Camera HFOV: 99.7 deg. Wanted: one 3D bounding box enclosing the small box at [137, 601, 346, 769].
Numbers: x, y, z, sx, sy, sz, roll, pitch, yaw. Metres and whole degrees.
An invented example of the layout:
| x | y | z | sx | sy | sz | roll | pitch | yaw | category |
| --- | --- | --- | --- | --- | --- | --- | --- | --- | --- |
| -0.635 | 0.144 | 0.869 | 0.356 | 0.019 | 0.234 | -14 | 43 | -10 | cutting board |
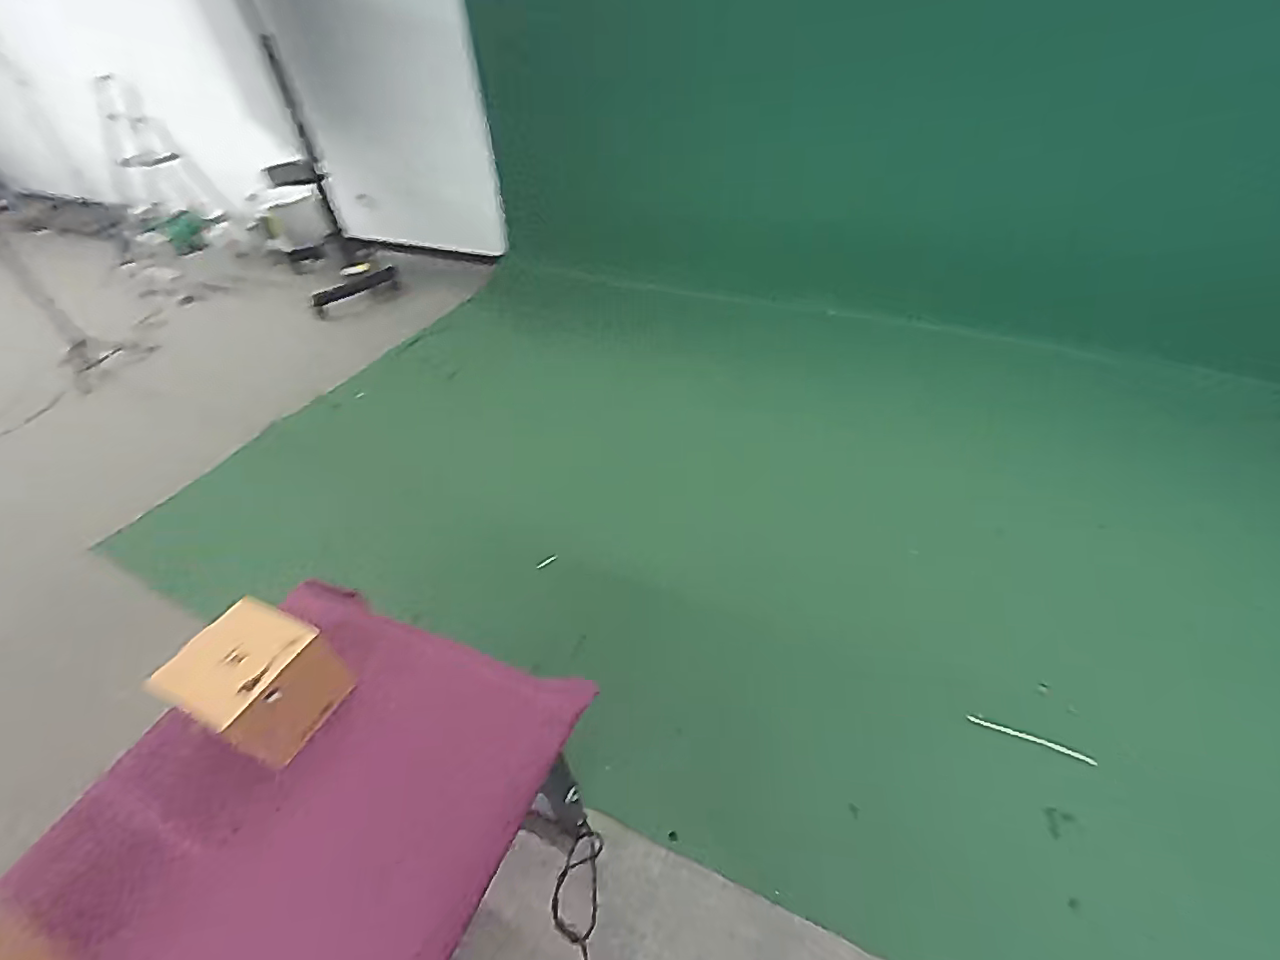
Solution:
| x | y | z | sx | sy | sz | roll | pitch | yaw | category |
| --- | --- | --- | --- | --- | --- | --- | --- | --- | --- |
| -0.619 | 0.329 | 0.863 | 0.179 | 0.176 | 0.168 | 16 | 48 | 18 | small box |
